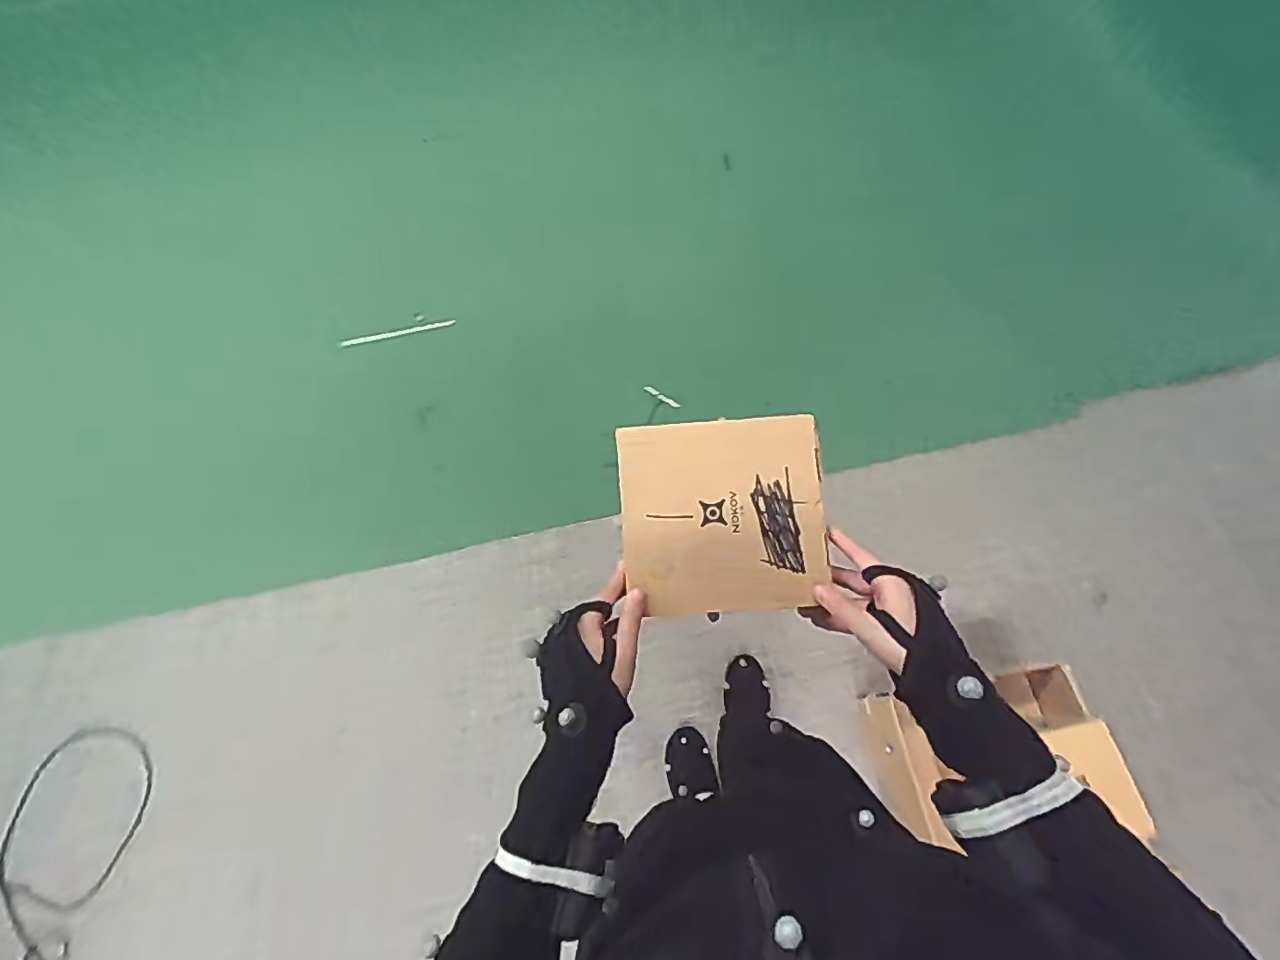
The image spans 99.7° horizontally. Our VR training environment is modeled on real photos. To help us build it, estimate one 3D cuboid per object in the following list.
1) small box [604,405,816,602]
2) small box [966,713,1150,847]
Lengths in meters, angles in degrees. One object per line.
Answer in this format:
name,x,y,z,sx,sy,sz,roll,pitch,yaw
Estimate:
small box,0.060,0.029,0.547,0.179,0.176,0.168,-4,81,1
small box,0.733,0.528,0.976,0.168,0.176,0.179,-11,69,-2
